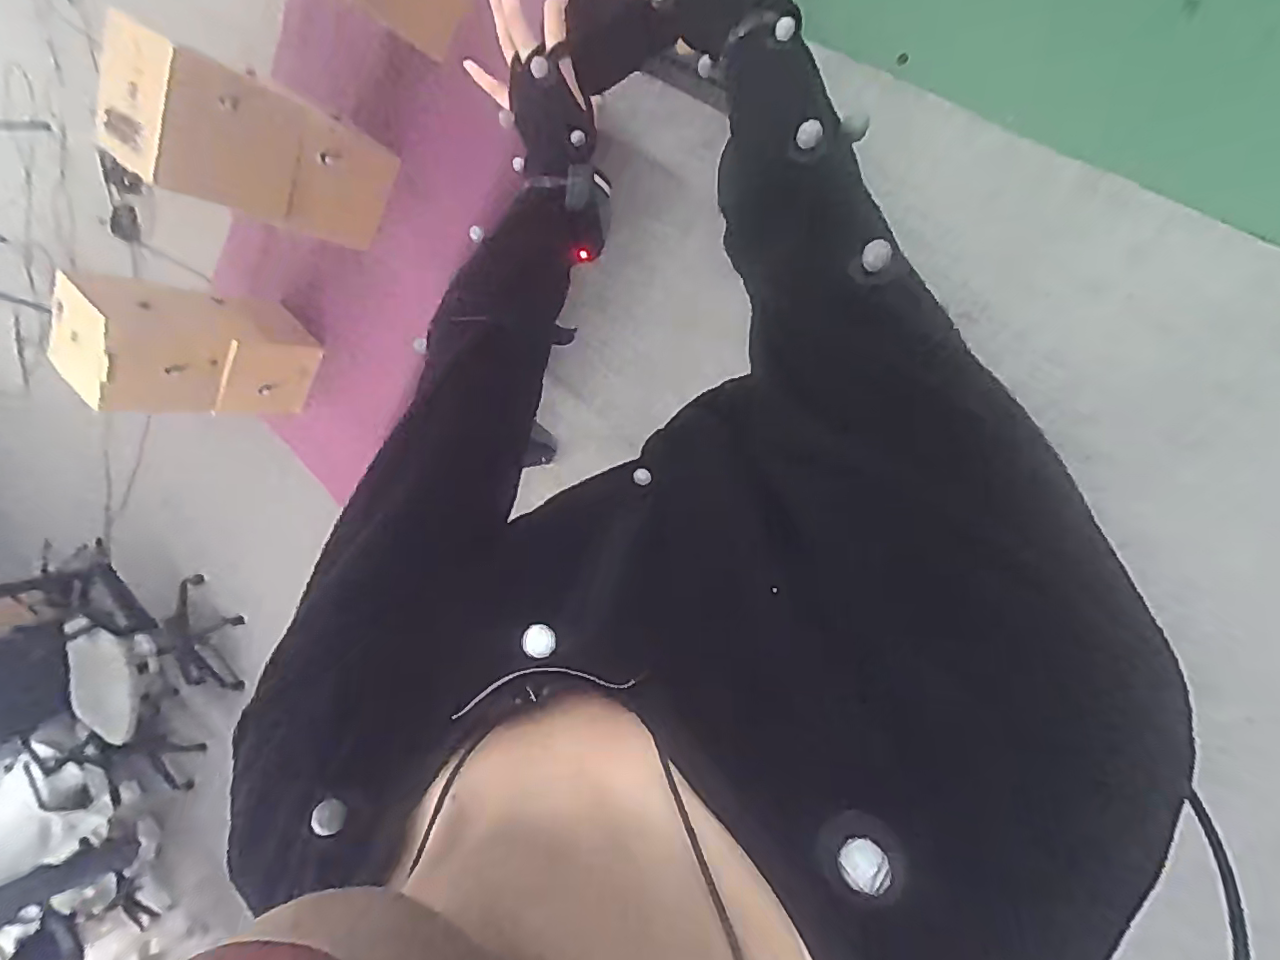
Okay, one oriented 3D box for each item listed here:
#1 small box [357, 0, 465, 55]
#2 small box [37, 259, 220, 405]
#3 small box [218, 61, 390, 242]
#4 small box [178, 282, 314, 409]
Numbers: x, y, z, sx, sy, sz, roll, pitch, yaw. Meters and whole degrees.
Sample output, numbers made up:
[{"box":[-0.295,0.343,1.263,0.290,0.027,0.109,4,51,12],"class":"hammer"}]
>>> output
[{"box":[-0.363,-0.789,0.789,0.168,0.176,0.179,48,114,13],"class":"small box"},{"box":[-0.863,-0.244,0.920,0.179,0.176,0.168,37,110,16],"class":"small box"},{"box":[-0.559,-0.541,0.916,0.168,0.176,0.179,42,112,15],"class":"small box"},{"box":[-0.786,-0.260,1.065,0.179,0.176,0.168,42,112,15],"class":"small box"}]
